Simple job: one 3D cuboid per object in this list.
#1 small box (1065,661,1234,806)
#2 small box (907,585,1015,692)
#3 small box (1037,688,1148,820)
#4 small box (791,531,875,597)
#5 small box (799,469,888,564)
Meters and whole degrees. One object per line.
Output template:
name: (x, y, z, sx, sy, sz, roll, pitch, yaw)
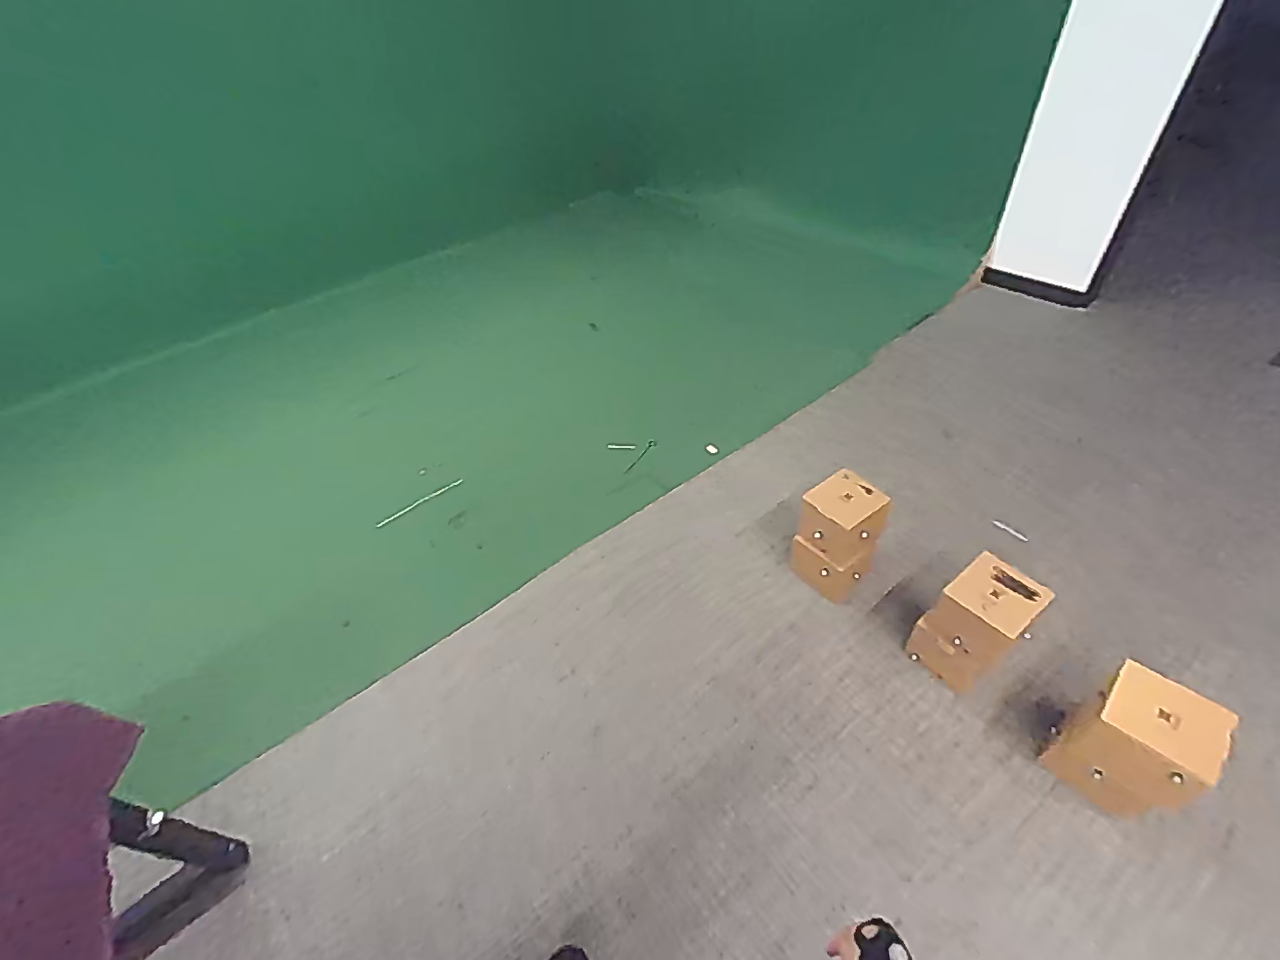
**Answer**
small box: (0.999, 0.507, 1.077, 0.168, 0.176, 0.179, -39, 52, -24)
small box: (0.832, 0.421, 1.422, 0.179, 0.176, 0.168, -32, 49, -21)
small box: (1.032, 0.610, 1.199, 0.168, 0.176, 0.179, -35, 50, -21)
small box: (0.583, 0.232, 1.654, 0.168, 0.176, 0.179, -33, 49, -21)
small box: (0.574, 0.109, 1.545, 0.179, 0.176, 0.168, -30, 49, -17)
